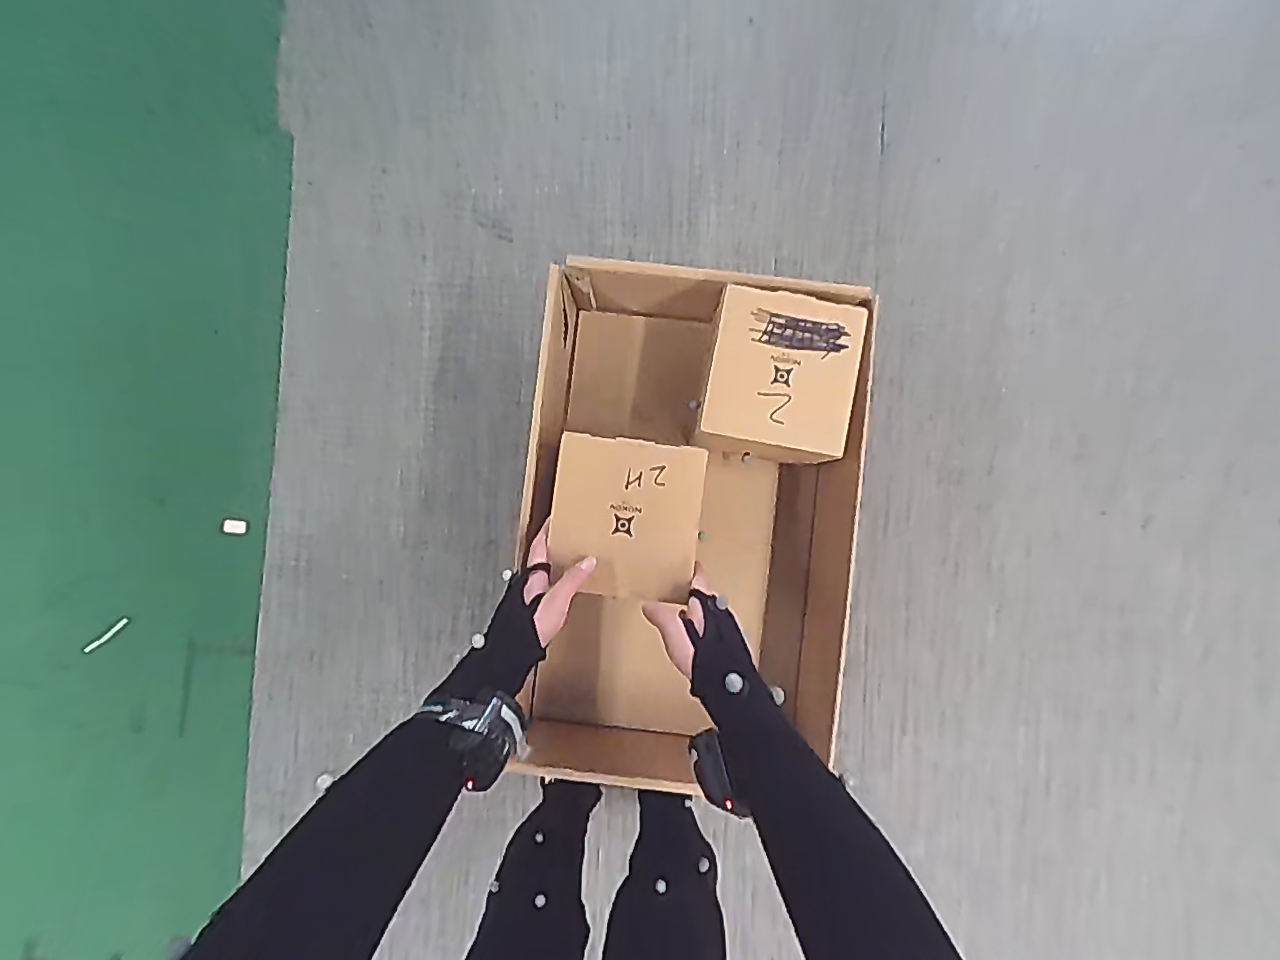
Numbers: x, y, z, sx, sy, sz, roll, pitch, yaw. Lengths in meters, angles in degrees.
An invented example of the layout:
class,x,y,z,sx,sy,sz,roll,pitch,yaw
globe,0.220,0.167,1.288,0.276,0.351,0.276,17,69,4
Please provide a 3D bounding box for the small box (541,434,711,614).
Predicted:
class,x,y,z,sx,sy,sz,roll,pitch,yaw
small box,-0.012,0.052,0.664,0.168,0.176,0.179,8,86,2
